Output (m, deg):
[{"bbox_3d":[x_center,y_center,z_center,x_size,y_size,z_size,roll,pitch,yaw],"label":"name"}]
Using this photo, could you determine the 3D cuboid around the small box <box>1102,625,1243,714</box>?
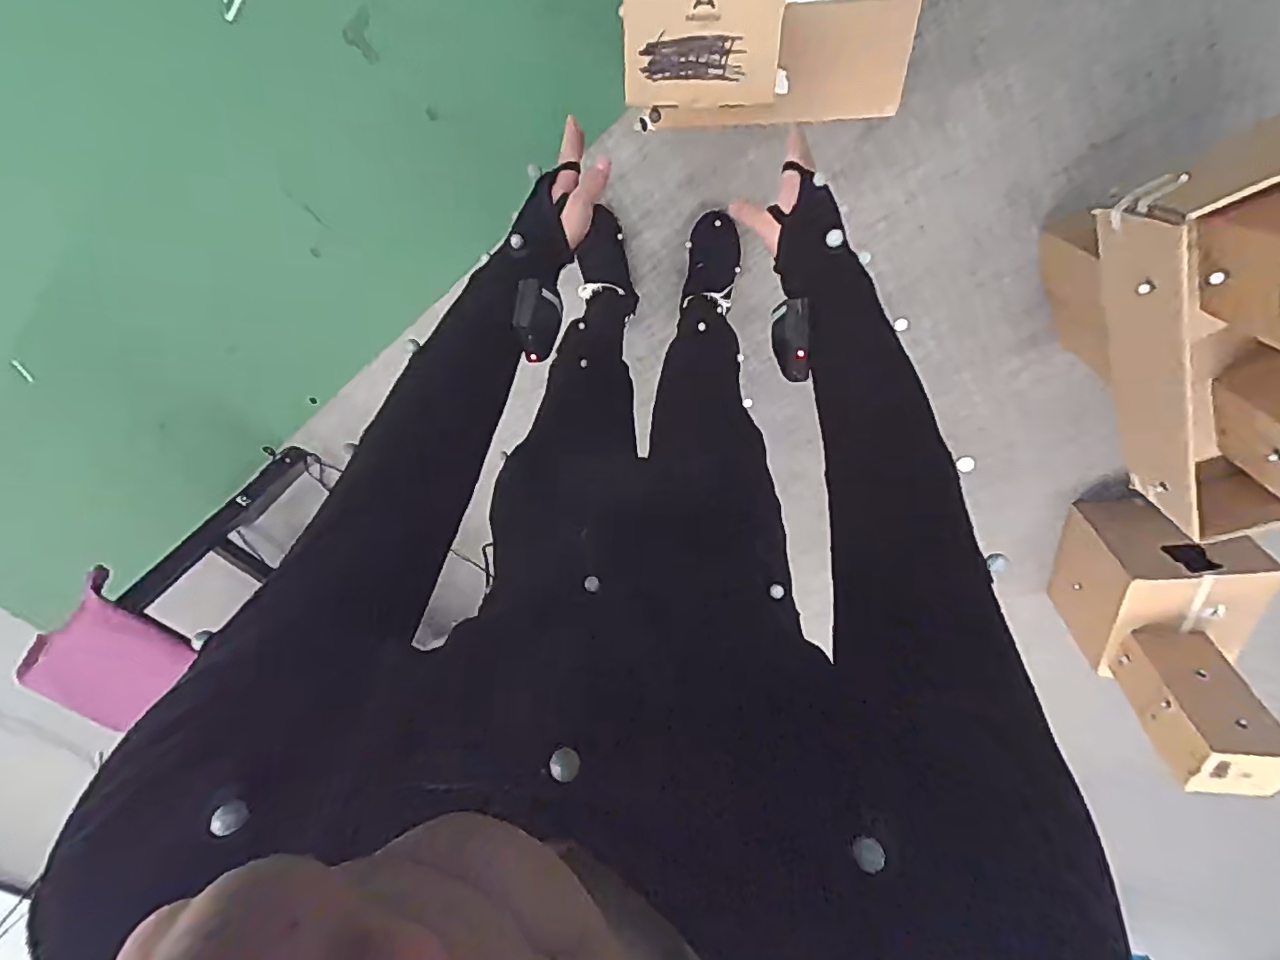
[{"bbox_3d":[1.374,0.497,1.411,0.179,0.176,0.168,-1,126,12],"label":"small box"}]

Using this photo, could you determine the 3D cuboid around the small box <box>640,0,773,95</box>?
[{"bbox_3d":[0.088,-0.635,0.734,0.168,0.176,0.179,3,129,5],"label":"small box"}]

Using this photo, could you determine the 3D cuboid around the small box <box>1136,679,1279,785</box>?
[{"bbox_3d":[1.345,0.592,1.282,0.179,0.176,0.168,-2,126,10],"label":"small box"}]

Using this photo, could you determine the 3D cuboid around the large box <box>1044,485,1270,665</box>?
[{"bbox_3d":[1.421,0.275,1.545,0.320,0.320,0.408,-8,125,14],"label":"large box"}]
